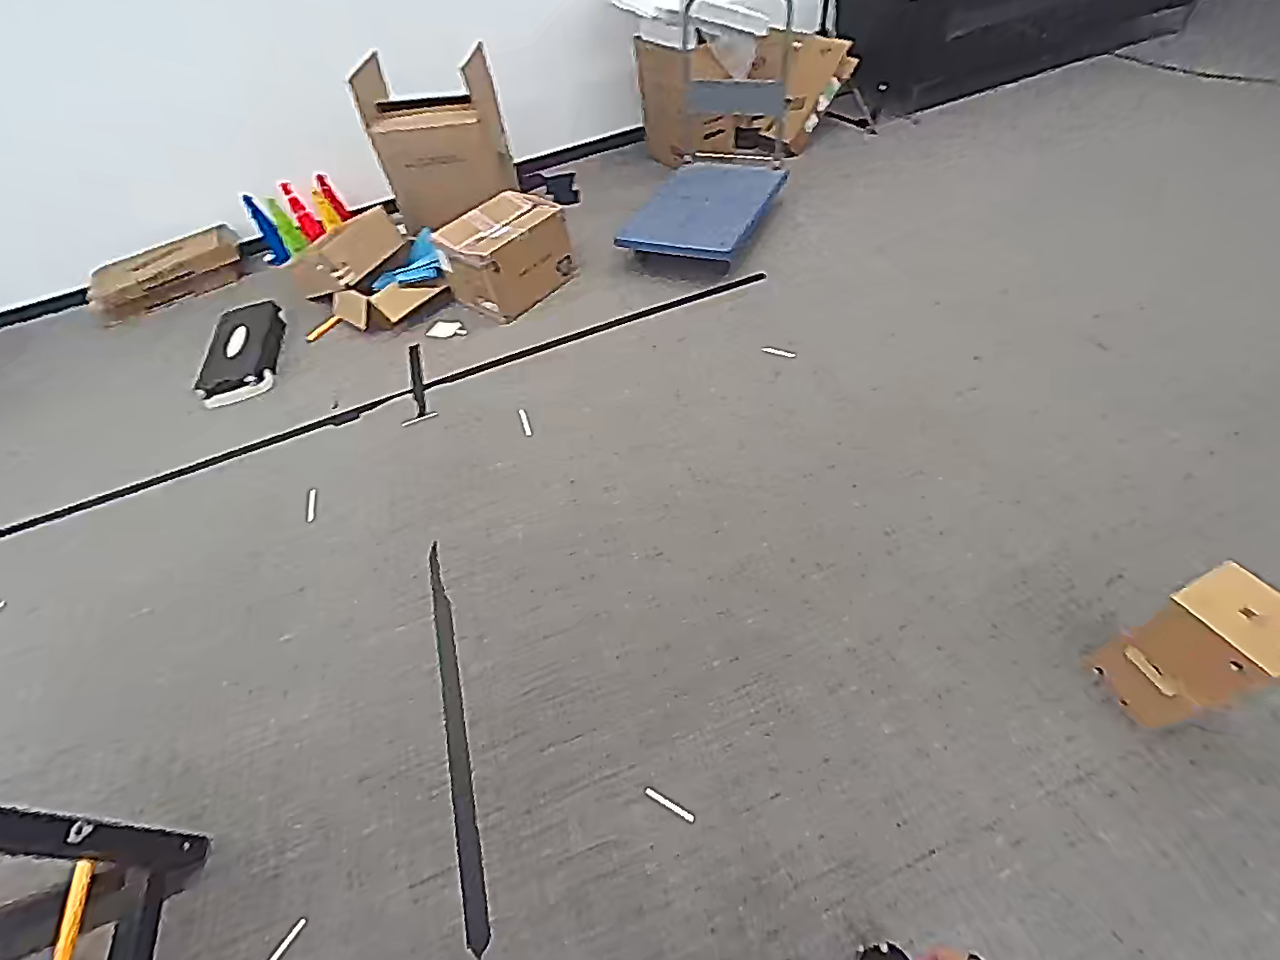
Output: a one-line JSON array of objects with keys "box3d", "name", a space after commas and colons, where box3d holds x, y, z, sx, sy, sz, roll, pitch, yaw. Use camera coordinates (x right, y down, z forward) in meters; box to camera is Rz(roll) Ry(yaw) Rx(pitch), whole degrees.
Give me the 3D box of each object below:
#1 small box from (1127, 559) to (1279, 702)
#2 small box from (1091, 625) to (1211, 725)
[{"box3d": [1.108, 0.290, 1.036, 0.168, 0.176, 0.179, -24, 51, -11], "name": "small box"}, {"box3d": [1.123, 0.398, 1.157, 0.179, 0.176, 0.168, -19, 50, -6], "name": "small box"}]
